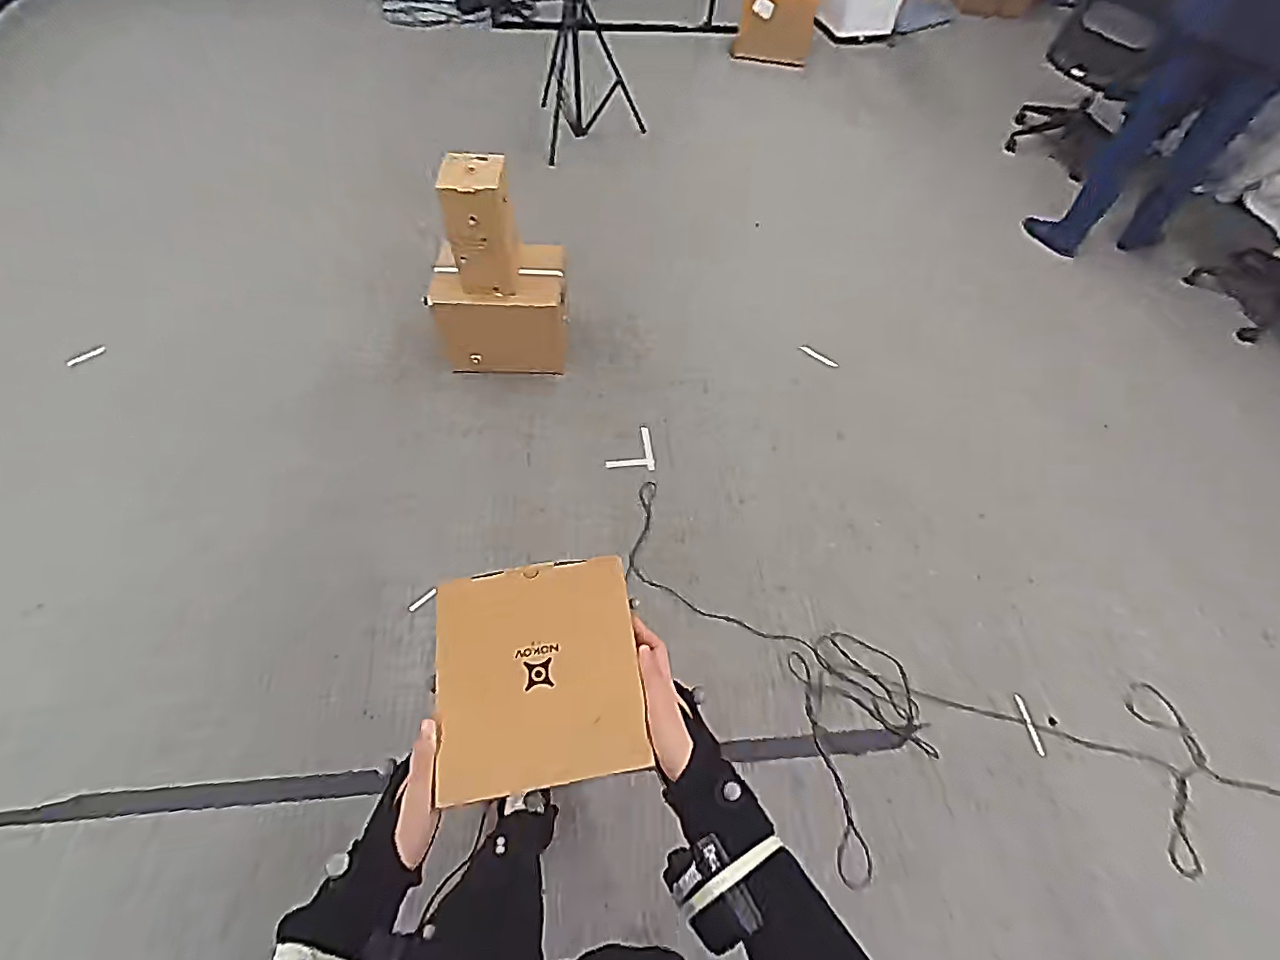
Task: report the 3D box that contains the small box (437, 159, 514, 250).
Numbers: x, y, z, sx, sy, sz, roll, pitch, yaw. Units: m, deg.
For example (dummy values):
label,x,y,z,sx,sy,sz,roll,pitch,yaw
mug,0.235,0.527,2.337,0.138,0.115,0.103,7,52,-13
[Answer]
label,x,y,z,sx,sy,sz,roll,pitch,yaw
small box,-0.459,-0.778,1.535,0.168,0.176,0.179,1,58,-3

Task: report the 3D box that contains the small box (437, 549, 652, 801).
label,x,y,z,sx,sy,sz,roll,pitch,yaw
small box,-0.085,0.186,0.513,0.168,0.176,0.179,-8,62,-7
